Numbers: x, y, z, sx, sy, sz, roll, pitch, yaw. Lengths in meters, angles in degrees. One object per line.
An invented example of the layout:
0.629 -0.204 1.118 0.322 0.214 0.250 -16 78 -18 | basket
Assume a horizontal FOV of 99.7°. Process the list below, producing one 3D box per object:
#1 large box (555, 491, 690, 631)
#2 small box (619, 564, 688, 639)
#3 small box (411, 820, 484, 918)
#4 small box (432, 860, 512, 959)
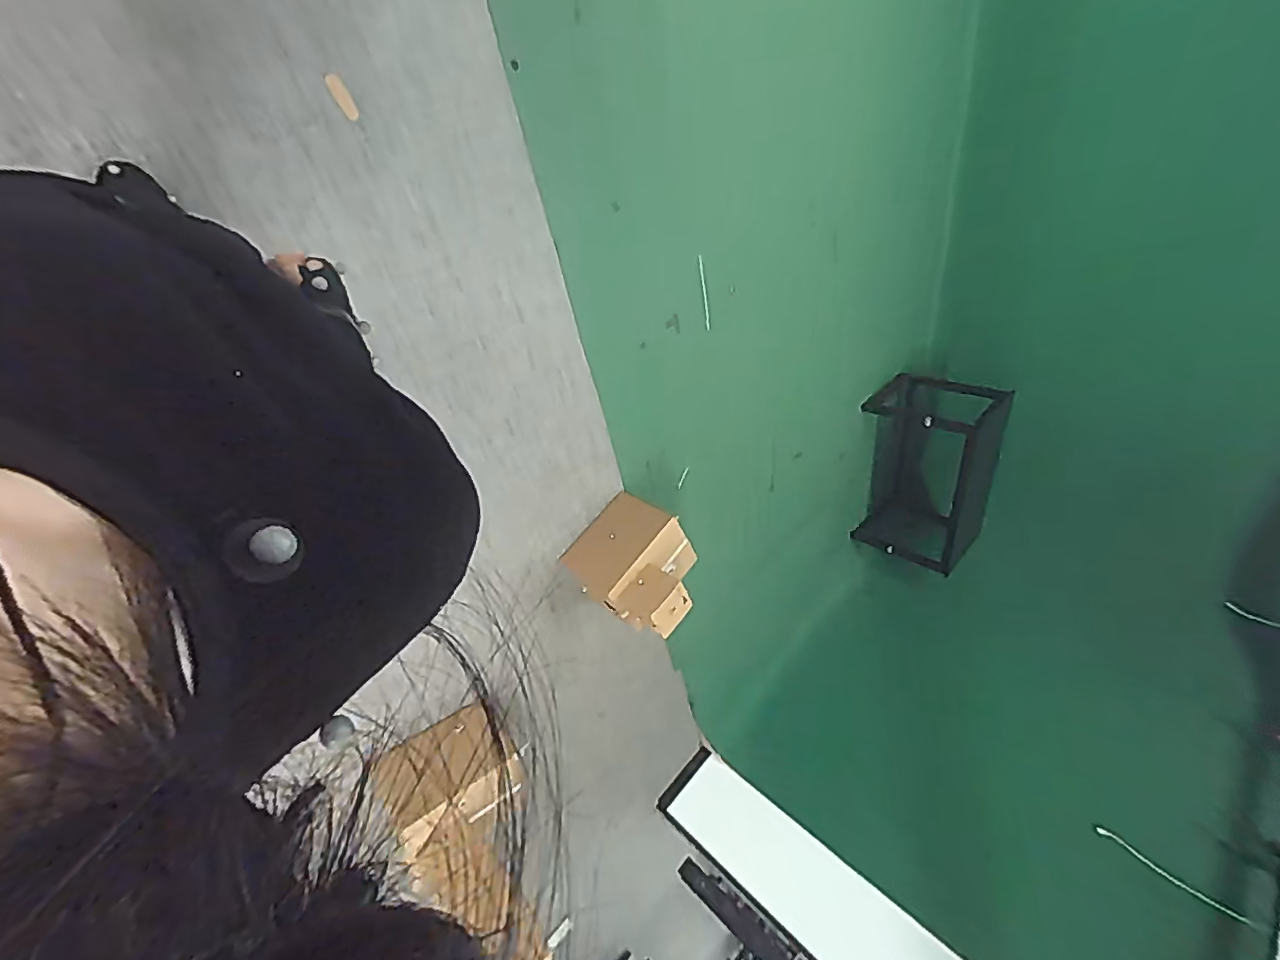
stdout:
-0.066 0.323 2.207 0.408 0.320 0.320 -49 138 -20 | large box
0.044 0.447 2.005 0.179 0.176 0.168 -45 135 -22 | small box
-0.604 1.229 1.703 0.168 0.176 0.179 -19 123 -40 | small box
-0.498 1.286 1.593 0.179 0.176 0.168 -17 122 -41 | small box
